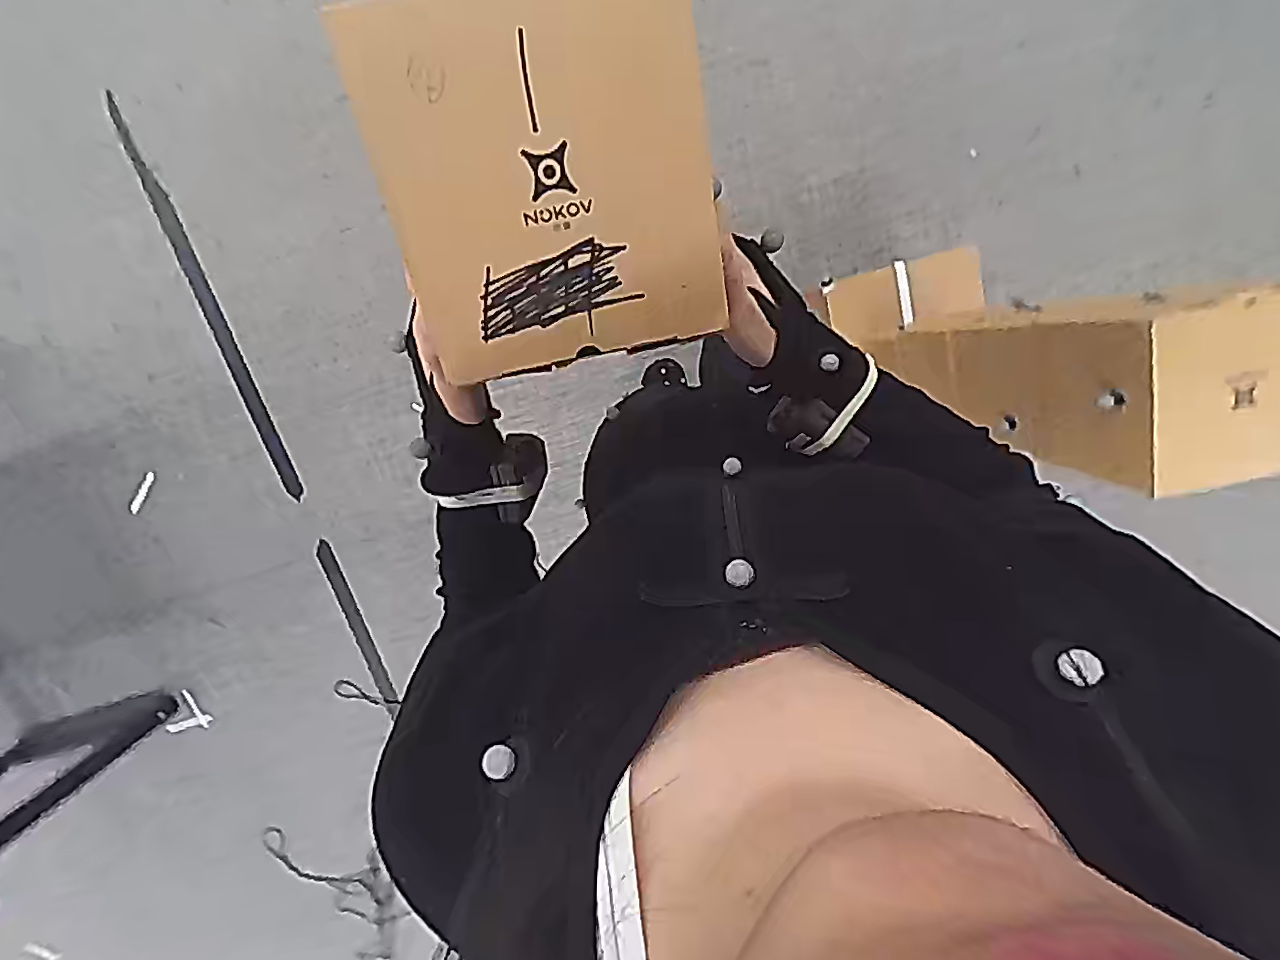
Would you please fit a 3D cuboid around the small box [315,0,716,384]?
[{"bbox_3d":[-0.057,-0.180,0.348,0.168,0.176,0.179,-13,114,0],"label":"small box"}]

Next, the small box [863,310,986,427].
[{"bbox_3d":[0.556,-0.219,1.055,0.168,0.176,0.179,-17,104,6],"label":"small box"}]

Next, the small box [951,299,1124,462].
[{"bbox_3d":[0.553,-0.141,0.735,0.168,0.176,0.179,-13,104,4],"label":"small box"}]

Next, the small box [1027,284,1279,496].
[{"bbox_3d":[0.552,-0.102,0.578,0.168,0.176,0.179,-13,104,5],"label":"small box"}]
